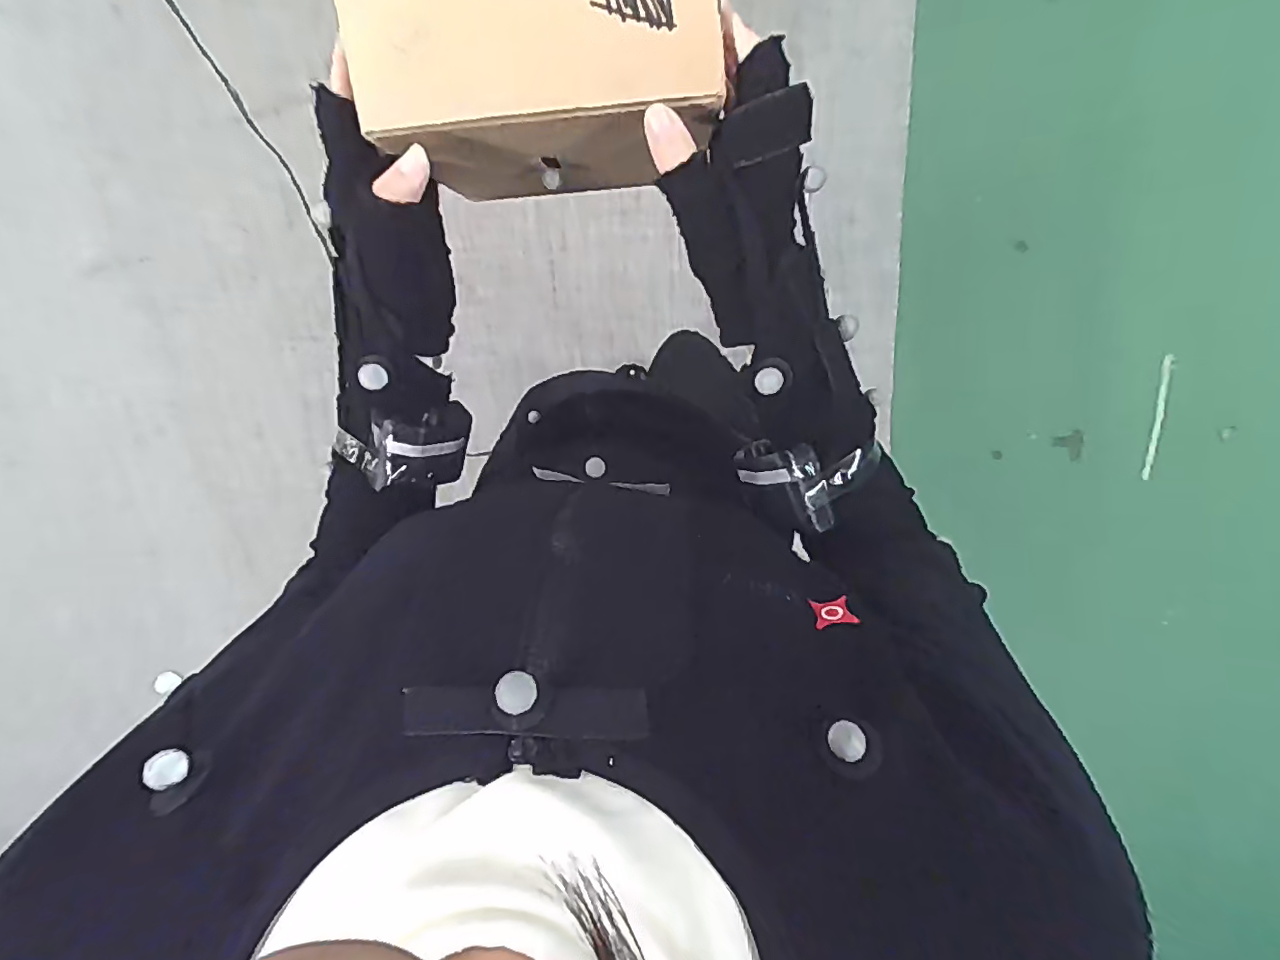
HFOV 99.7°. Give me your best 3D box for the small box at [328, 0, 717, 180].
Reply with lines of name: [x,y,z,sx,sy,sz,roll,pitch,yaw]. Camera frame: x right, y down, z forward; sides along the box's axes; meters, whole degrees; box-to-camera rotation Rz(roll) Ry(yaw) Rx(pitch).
small box: [-0.055,-0.281,0.302,0.179,0.176,0.168,-4,108,4]

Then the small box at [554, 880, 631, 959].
small box: [-0.114,1.165,1.383,0.179,0.176,0.168,-2,104,4]
